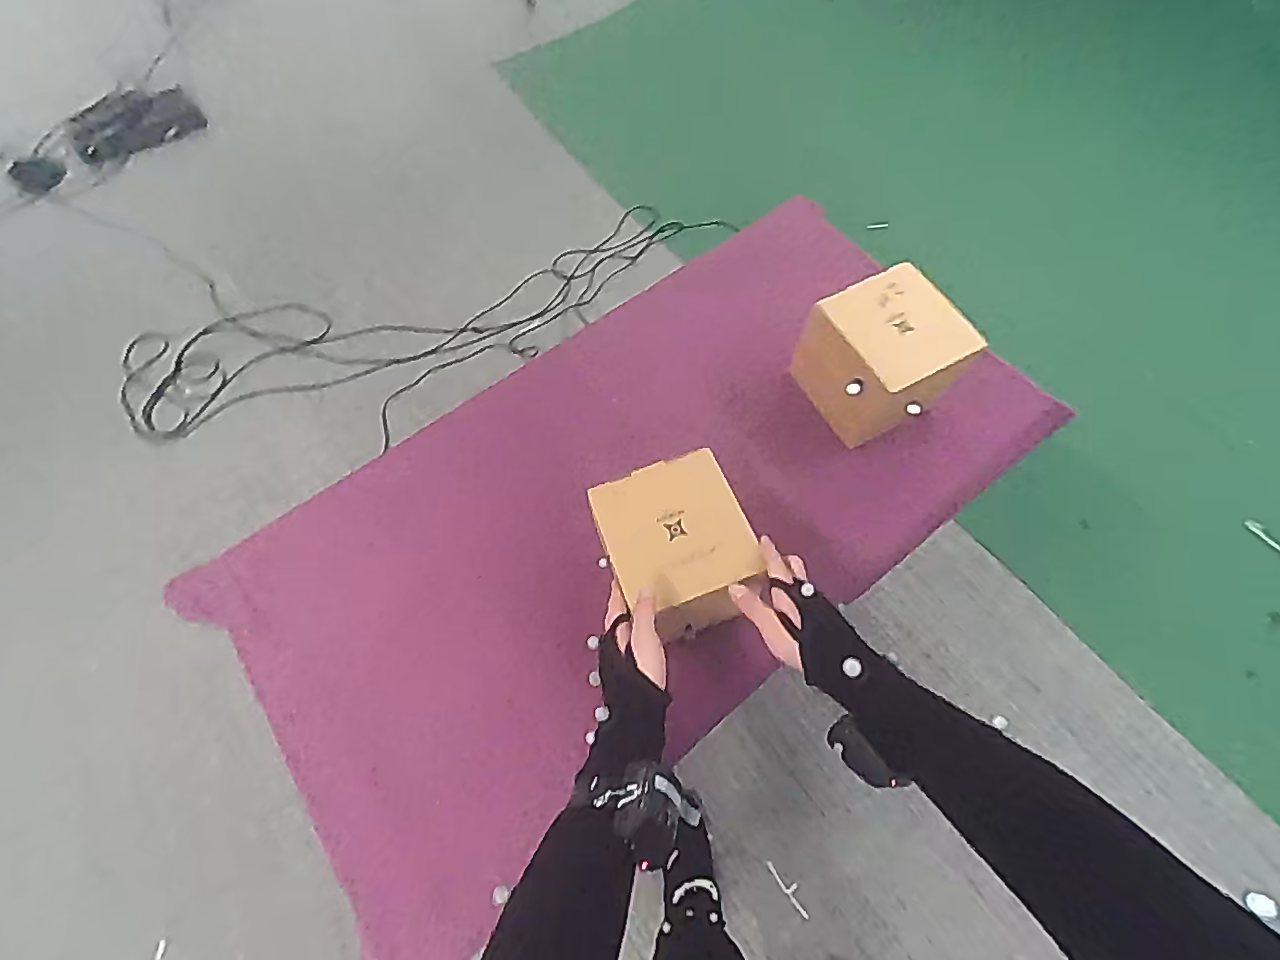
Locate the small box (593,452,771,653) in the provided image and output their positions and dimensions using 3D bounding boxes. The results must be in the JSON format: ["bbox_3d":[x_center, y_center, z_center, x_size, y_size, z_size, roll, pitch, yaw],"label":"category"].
[{"bbox_3d":[0.047,0.097,0.691,0.168,0.176,0.179,-17,60,-5],"label":"small box"}]

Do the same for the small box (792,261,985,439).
[{"bbox_3d":[0.357,-0.183,0.816,0.168,0.176,0.179,-26,68,-9],"label":"small box"}]

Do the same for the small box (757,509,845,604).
[{"bbox_3d":[0.402,0.211,1.434,0.168,0.176,0.179,-38,70,-15],"label":"small box"}]
